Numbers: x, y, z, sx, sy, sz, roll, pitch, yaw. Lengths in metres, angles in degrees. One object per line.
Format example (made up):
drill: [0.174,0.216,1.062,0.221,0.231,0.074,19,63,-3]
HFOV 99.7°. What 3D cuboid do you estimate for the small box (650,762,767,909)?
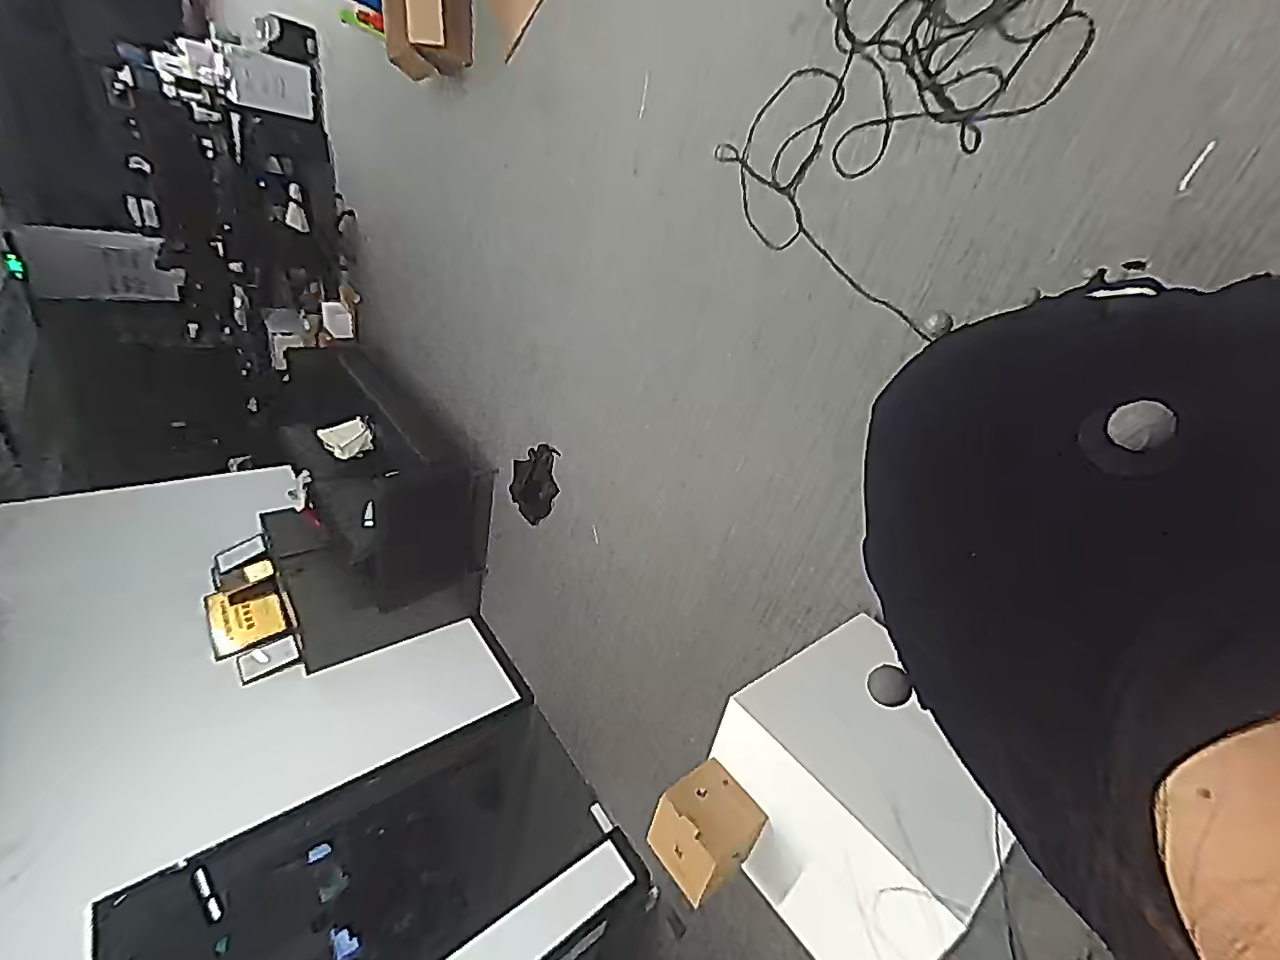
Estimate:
small box: [0.148,0.754,1.167,0.168,0.176,0.179,37,127,40]
